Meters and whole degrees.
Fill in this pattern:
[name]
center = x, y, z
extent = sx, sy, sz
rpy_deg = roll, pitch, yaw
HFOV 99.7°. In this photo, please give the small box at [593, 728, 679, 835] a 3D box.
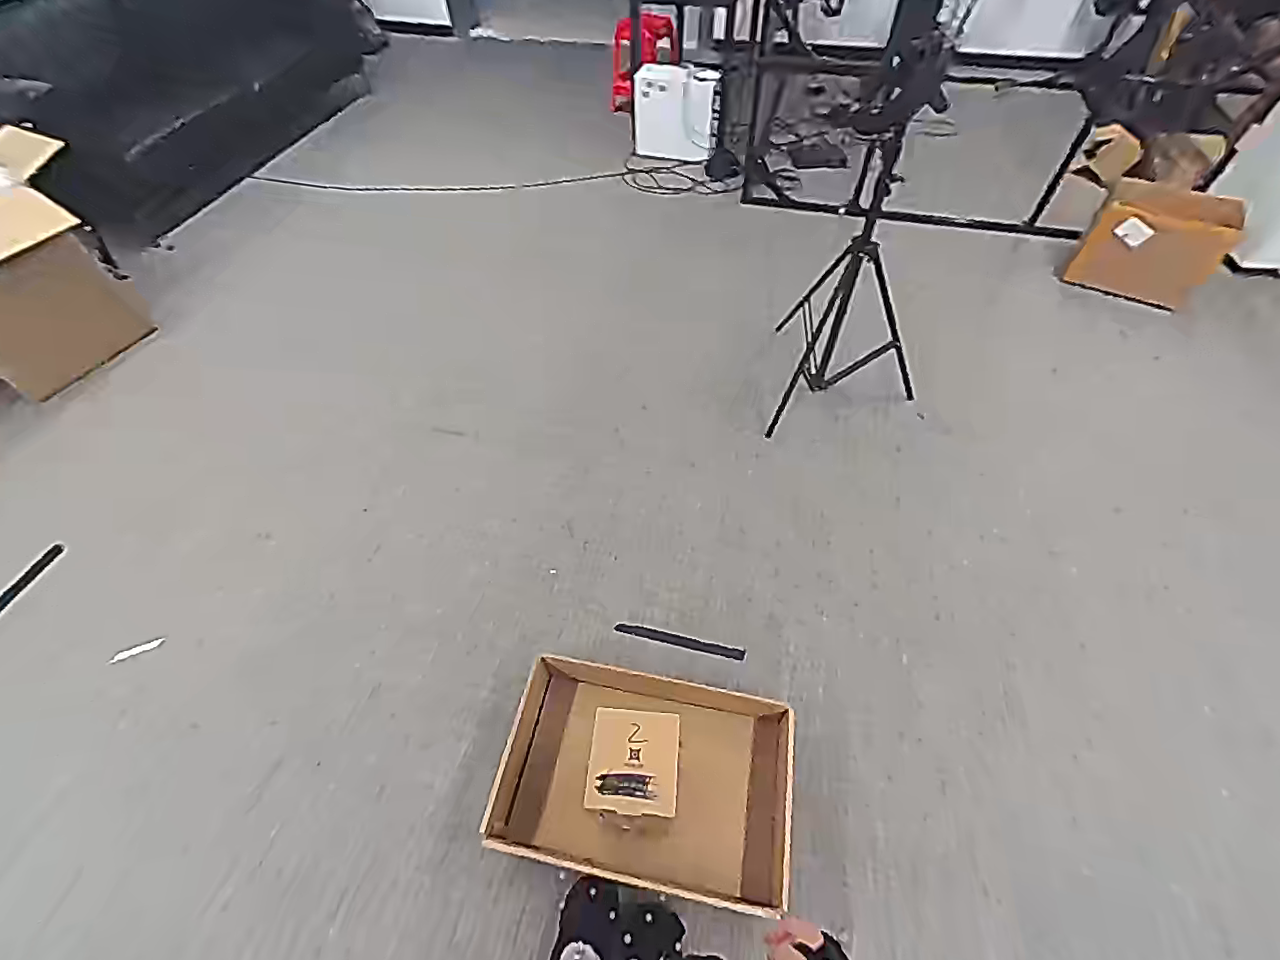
[small box]
center = -0.004, 0.670, 1.198
extent = 0.168, 0.176, 0.179
rpy_deg = 4, 54, 5
